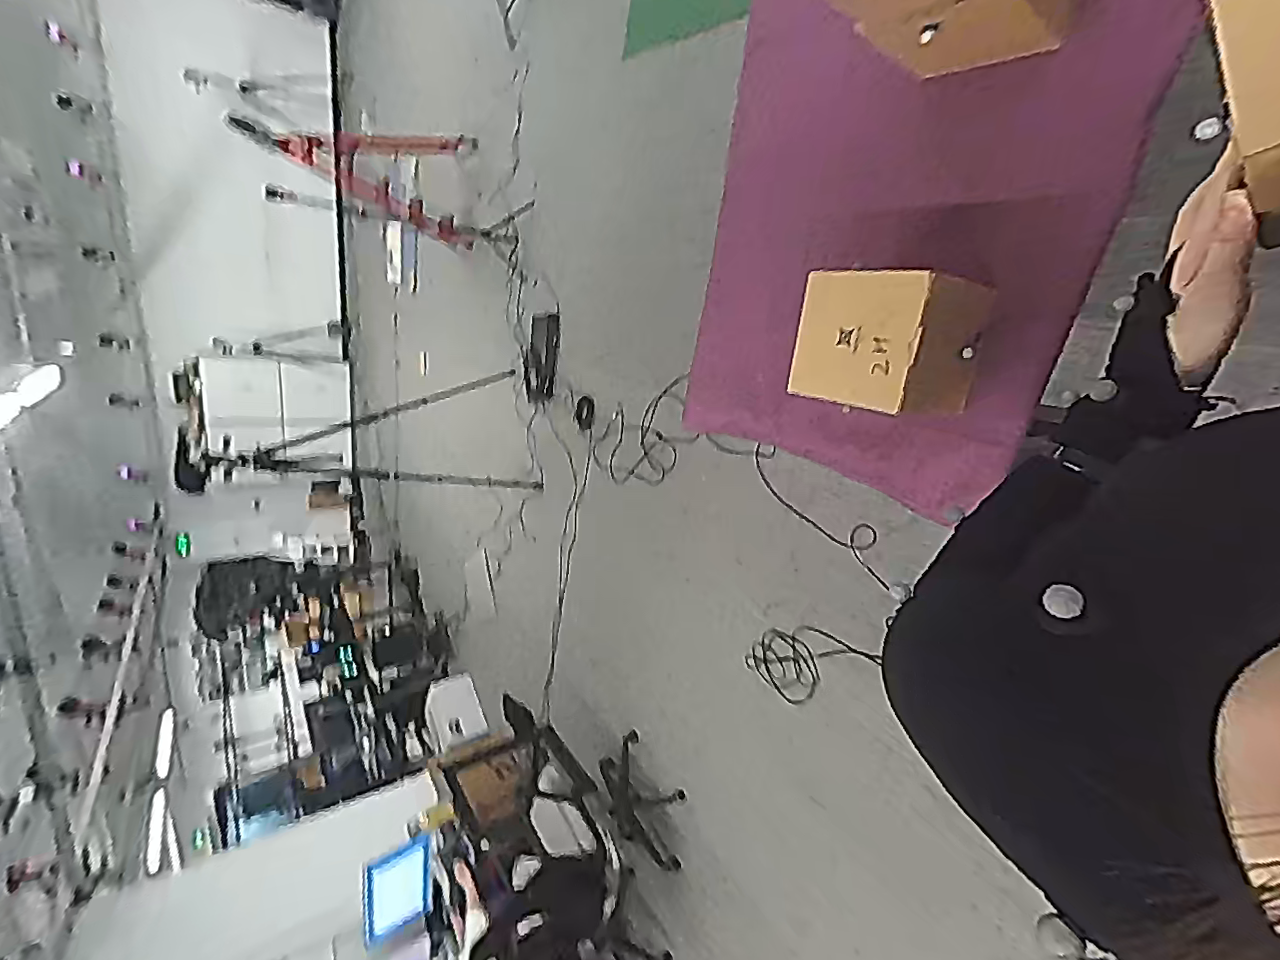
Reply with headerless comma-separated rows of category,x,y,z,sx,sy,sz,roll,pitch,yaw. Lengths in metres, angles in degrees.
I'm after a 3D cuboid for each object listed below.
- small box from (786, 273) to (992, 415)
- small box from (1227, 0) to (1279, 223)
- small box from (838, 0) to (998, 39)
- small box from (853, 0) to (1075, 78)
small box,0.334,-0.183,0.739,0.179,0.176,0.168,27,116,50
small box,0.412,-0.255,0.262,0.168,0.176,0.179,-10,82,51
small box,0.270,-0.571,0.507,0.168,0.176,0.179,25,114,50
small box,0.386,-0.599,0.622,0.179,0.176,0.168,29,117,48
